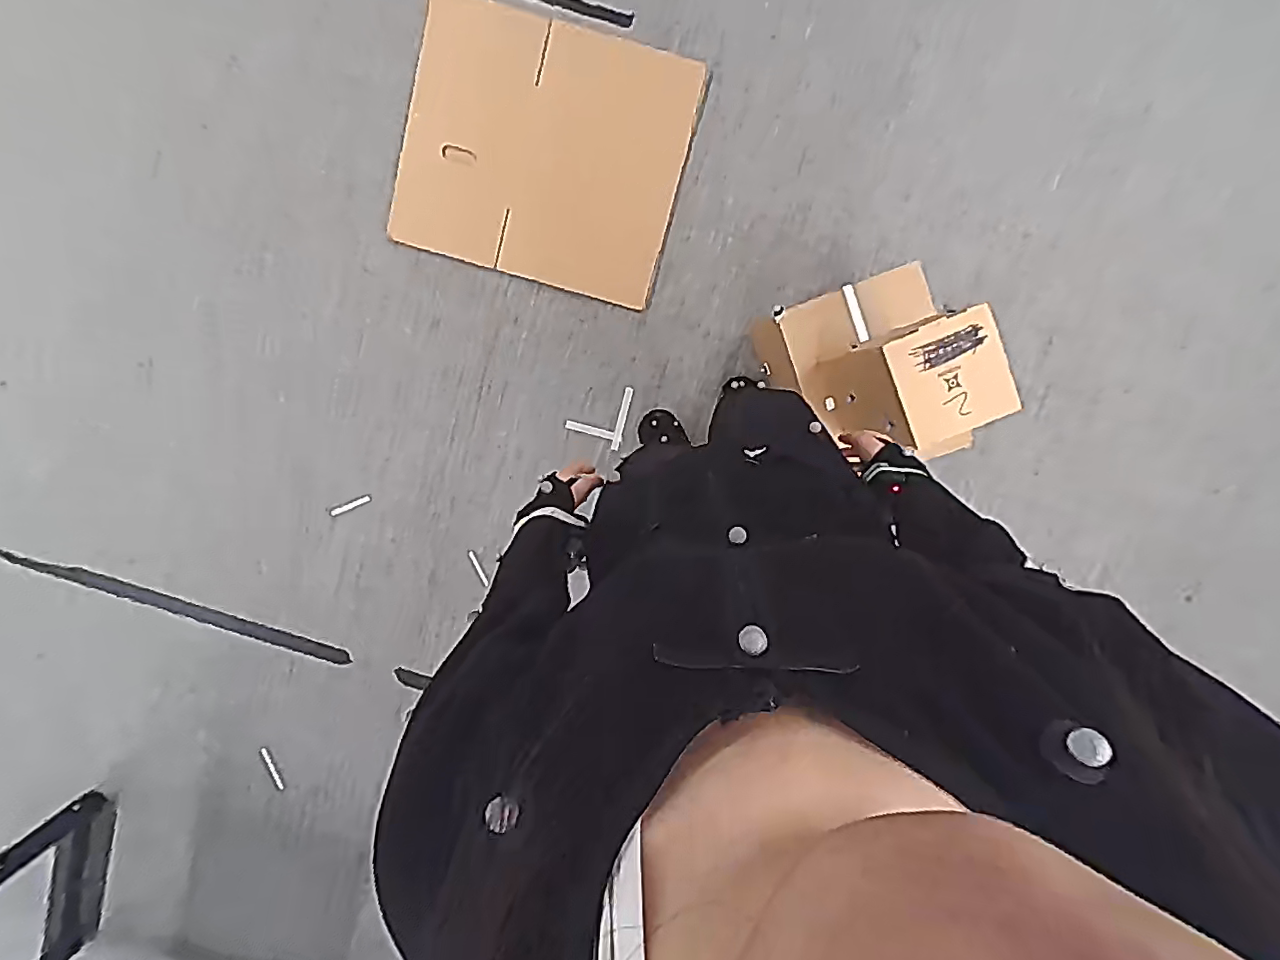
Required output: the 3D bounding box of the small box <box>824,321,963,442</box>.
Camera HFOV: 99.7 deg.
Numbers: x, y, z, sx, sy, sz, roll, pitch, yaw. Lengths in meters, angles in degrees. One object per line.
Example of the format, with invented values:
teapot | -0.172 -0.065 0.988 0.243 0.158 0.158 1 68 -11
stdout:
small box | 0.482 -0.188 1.055 0.168 0.176 0.179 -23 98 5
